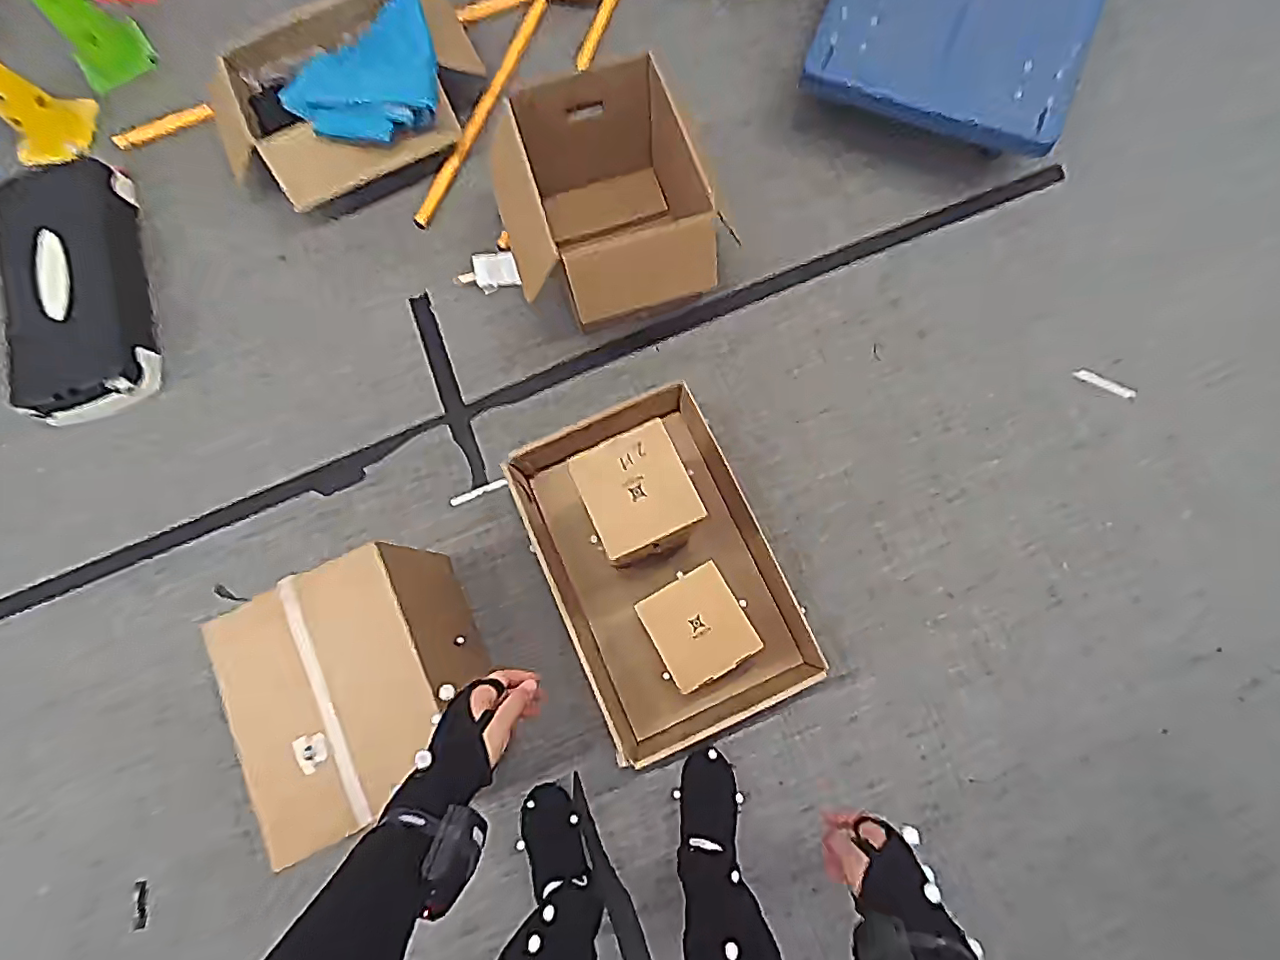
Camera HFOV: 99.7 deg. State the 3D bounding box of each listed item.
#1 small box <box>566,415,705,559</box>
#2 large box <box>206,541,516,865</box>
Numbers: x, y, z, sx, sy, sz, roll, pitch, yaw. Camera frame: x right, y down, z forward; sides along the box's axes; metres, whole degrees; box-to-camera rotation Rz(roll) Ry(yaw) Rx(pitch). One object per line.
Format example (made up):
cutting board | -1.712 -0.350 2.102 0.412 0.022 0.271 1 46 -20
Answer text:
small box | -0.006 0.021 0.904 0.168 0.176 0.179 -25 79 -4
large box | -0.481 0.368 1.000 0.320 0.320 0.408 -27 79 -2
